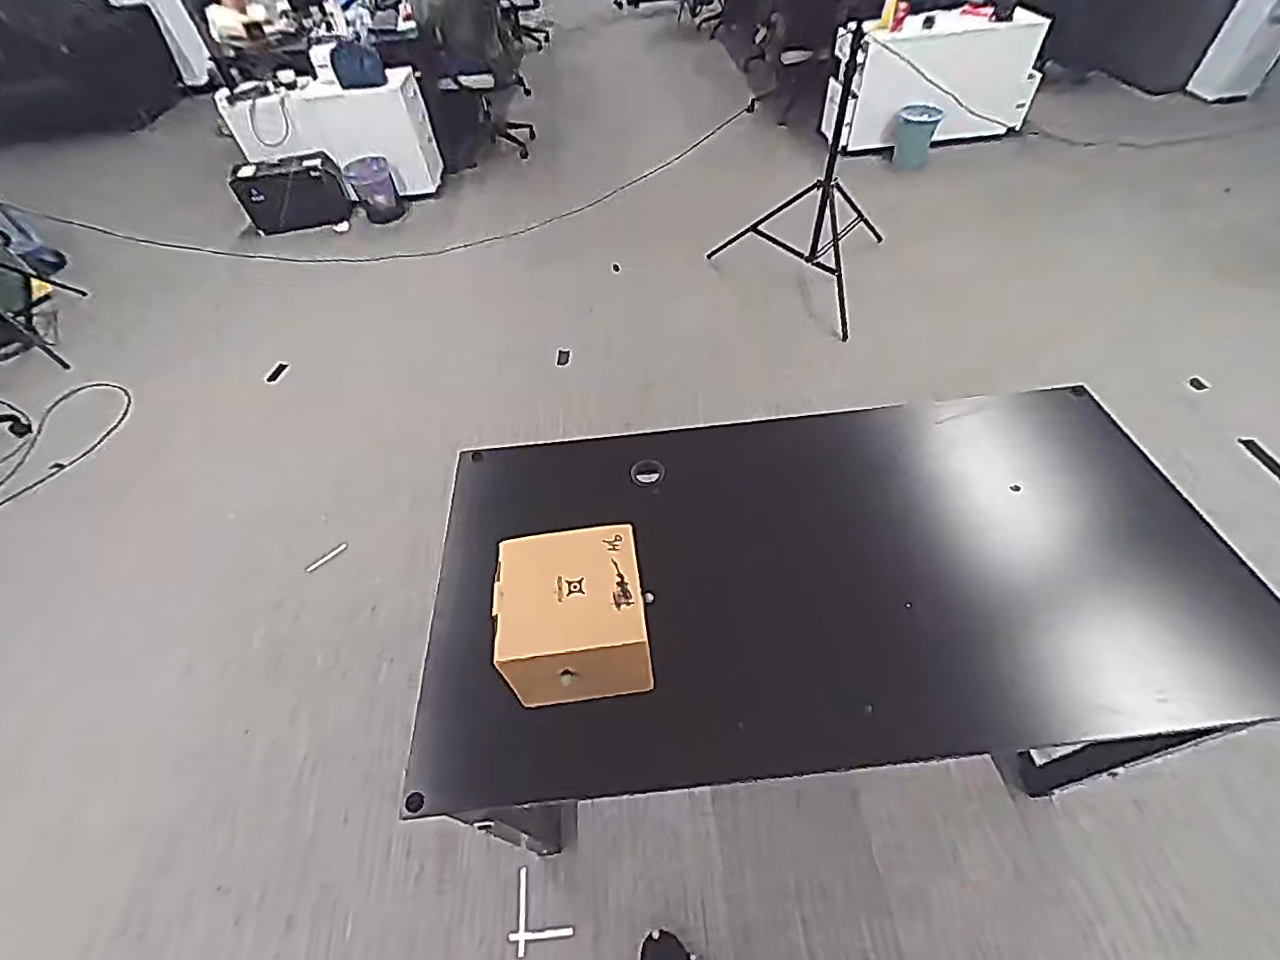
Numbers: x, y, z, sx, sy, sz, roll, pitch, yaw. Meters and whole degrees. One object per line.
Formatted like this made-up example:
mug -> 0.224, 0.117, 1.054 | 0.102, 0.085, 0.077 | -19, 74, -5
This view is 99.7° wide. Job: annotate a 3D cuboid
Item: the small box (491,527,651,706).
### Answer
small box -> -0.085, 0.186, 0.722 | 0.179, 0.176, 0.168 | -8, 51, -1
